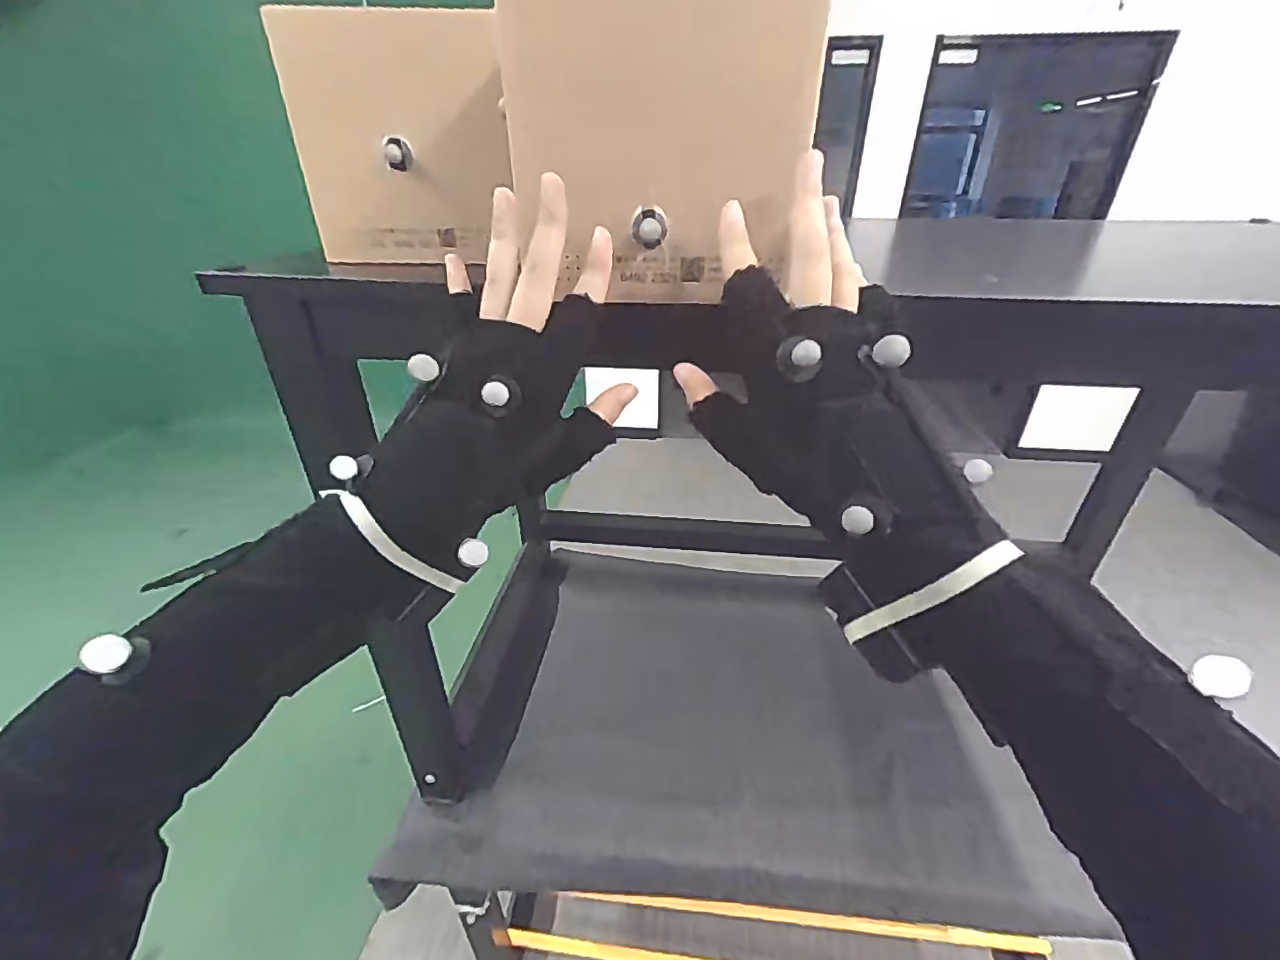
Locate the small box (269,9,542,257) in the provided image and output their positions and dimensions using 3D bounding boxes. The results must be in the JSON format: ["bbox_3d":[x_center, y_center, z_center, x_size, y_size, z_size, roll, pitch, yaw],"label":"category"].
[{"bbox_3d":[-0.187,-0.305,0.499,0.168,0.176,0.179,1,29,-1],"label":"small box"}]
